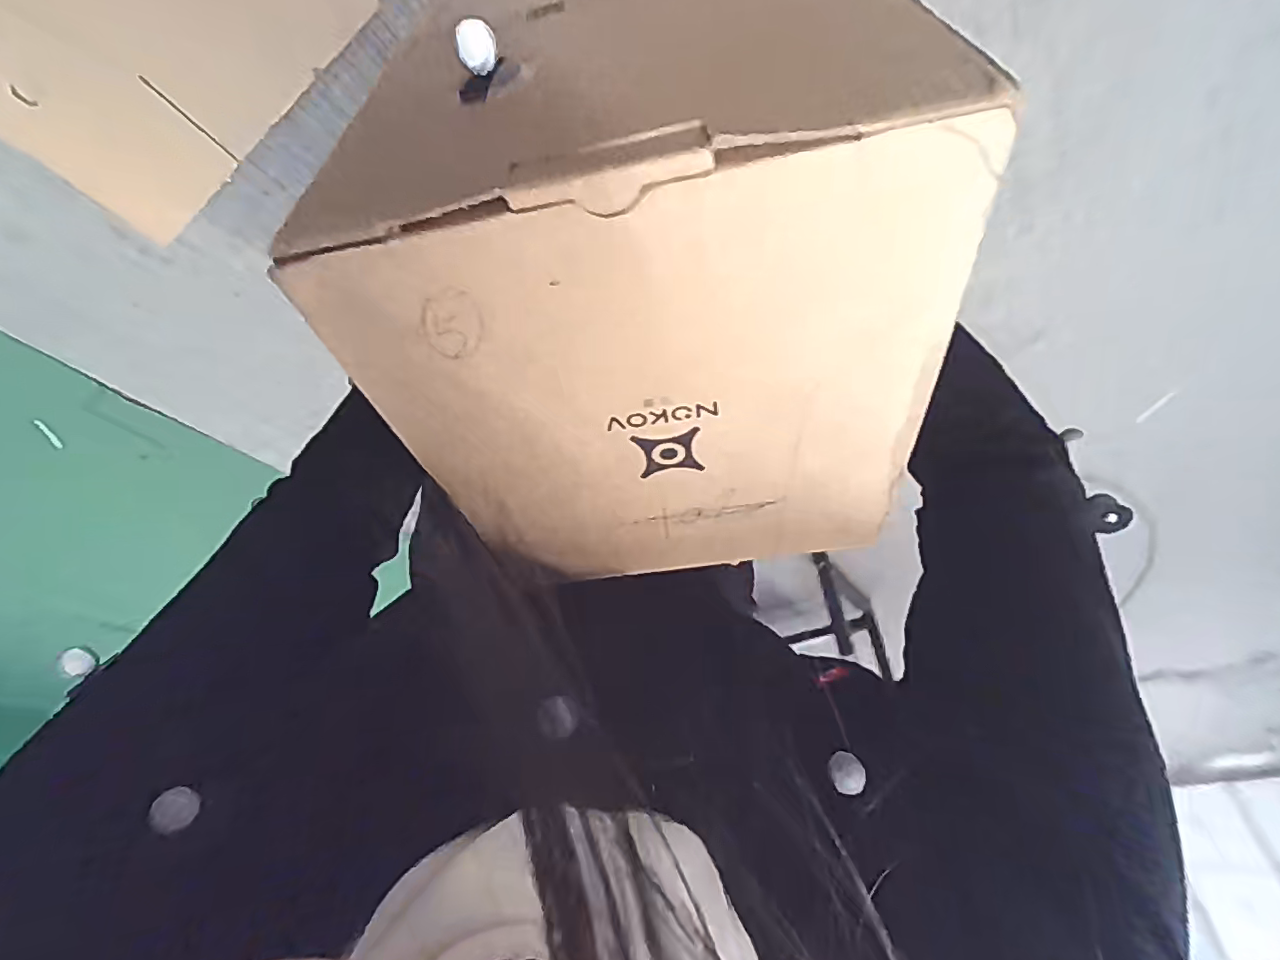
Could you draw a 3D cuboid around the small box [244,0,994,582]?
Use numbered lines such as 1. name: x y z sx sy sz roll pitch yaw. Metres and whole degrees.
1. small box: 0.002 -0.079 0.224 0.168 0.176 0.179 -8 143 9
